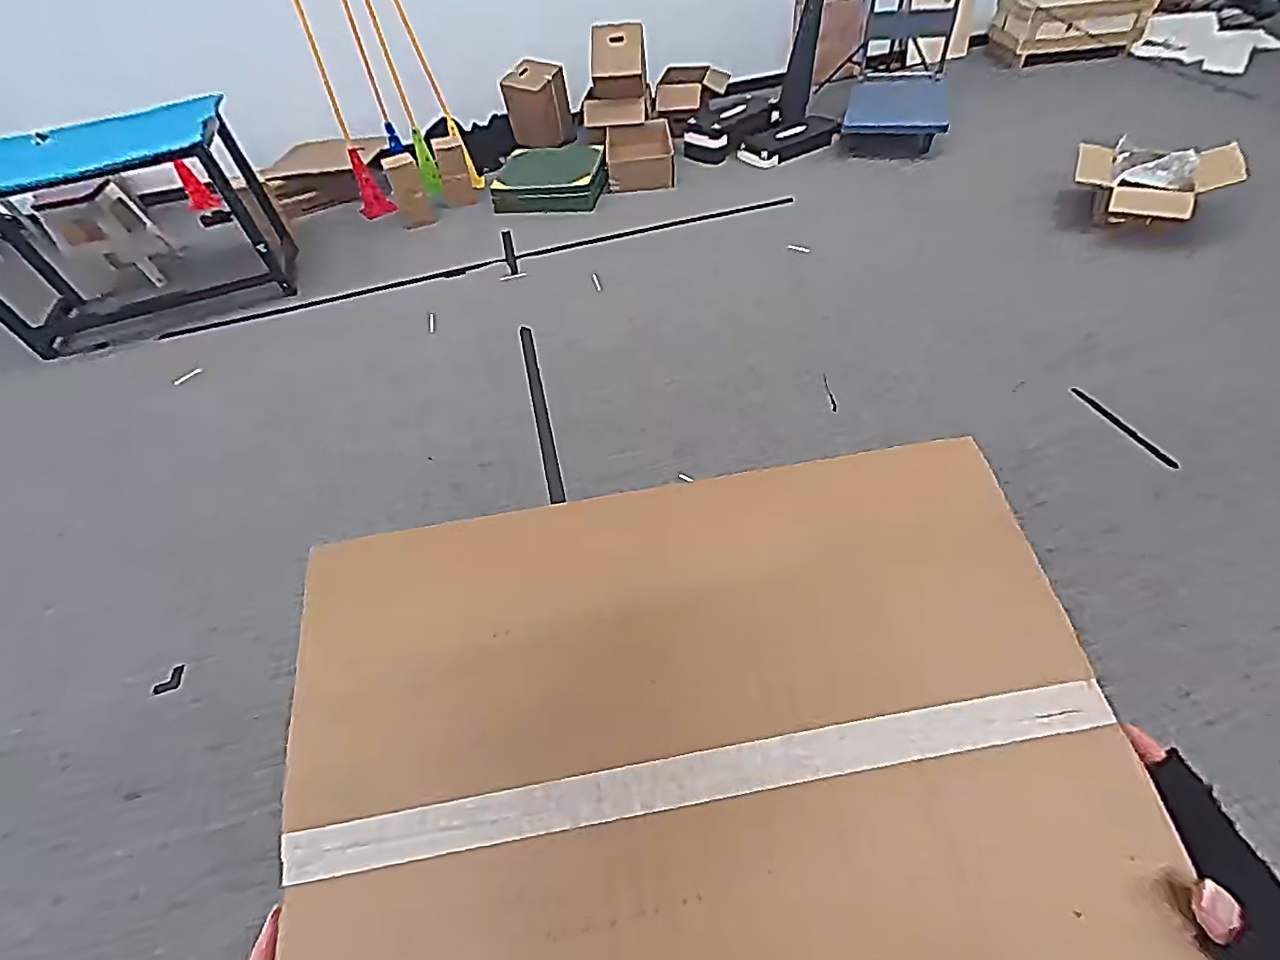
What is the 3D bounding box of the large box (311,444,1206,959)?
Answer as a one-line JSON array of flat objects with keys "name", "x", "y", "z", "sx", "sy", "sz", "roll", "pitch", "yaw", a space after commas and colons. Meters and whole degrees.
[{"name": "large box", "x": 0.039, "y": 0.210, "z": 0.413, "sx": 0.408, "sy": 0.320, "sz": 0.320, "roll": -10, "pitch": 66, "yaw": -2}]
